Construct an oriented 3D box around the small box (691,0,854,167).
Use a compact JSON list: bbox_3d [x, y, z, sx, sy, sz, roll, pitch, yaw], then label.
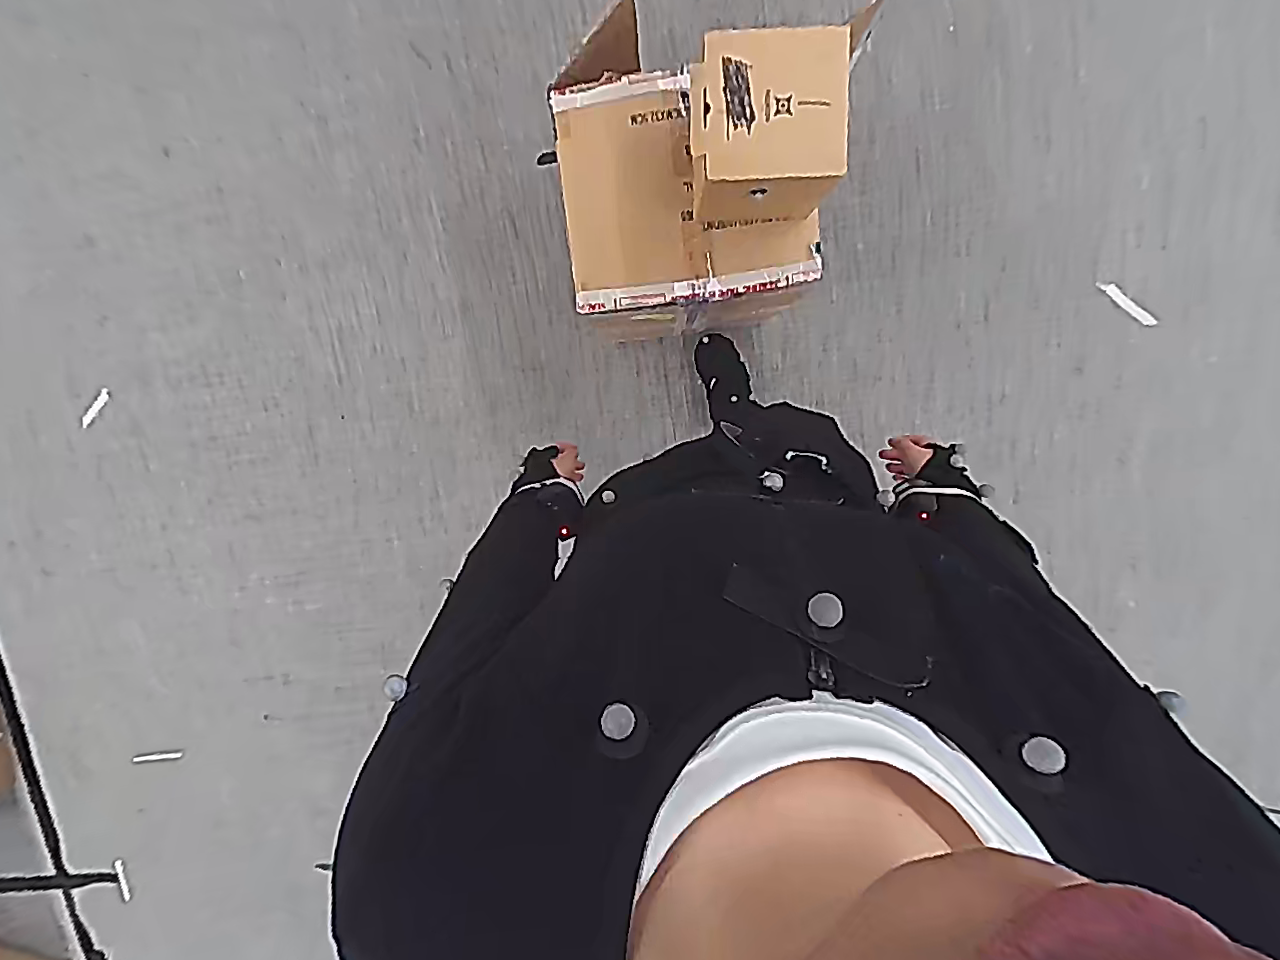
[{"bbox_3d":[0.160,-0.531,0.704,0.179,0.176,0.168,-5,100,1],"label":"small box"}]
